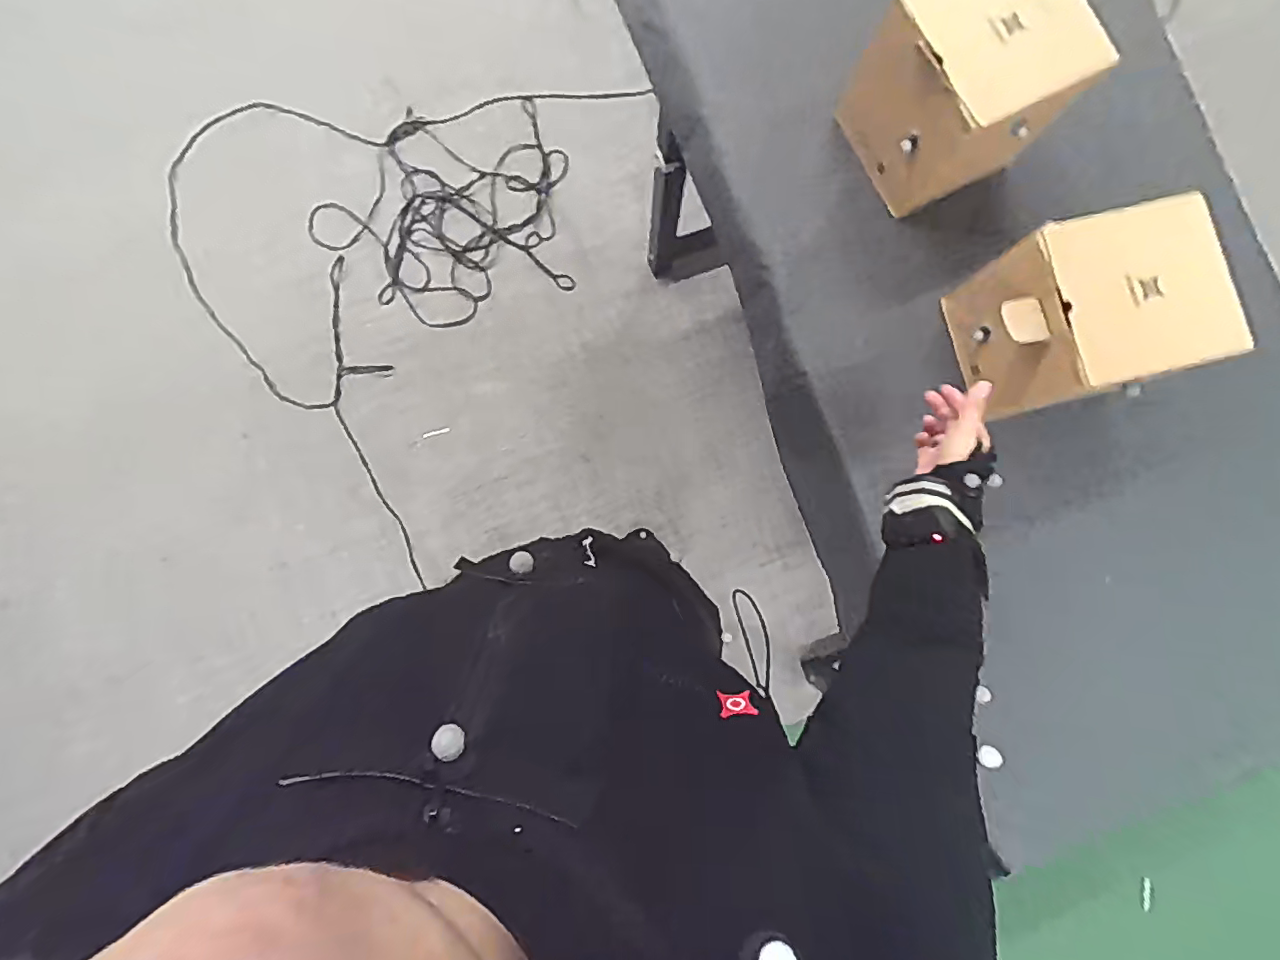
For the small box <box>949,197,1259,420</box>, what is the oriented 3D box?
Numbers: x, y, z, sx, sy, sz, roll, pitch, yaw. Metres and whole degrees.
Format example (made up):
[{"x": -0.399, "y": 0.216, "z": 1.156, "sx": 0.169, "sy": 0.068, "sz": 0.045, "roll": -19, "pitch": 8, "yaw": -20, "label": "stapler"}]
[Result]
[{"x": 0.489, "y": -0.174, "z": 0.597, "sx": 0.179, "sy": 0.176, "sz": 0.168, "roll": -14, "pitch": 86, "yaw": -3, "label": "small box"}]

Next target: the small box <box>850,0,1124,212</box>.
[{"x": 0.369, "y": -0.447, "z": 0.617, "sx": 0.179, "sy": 0.176, "sz": 0.168, "roll": -27, "pitch": 88, "yaw": -5, "label": "small box"}]
